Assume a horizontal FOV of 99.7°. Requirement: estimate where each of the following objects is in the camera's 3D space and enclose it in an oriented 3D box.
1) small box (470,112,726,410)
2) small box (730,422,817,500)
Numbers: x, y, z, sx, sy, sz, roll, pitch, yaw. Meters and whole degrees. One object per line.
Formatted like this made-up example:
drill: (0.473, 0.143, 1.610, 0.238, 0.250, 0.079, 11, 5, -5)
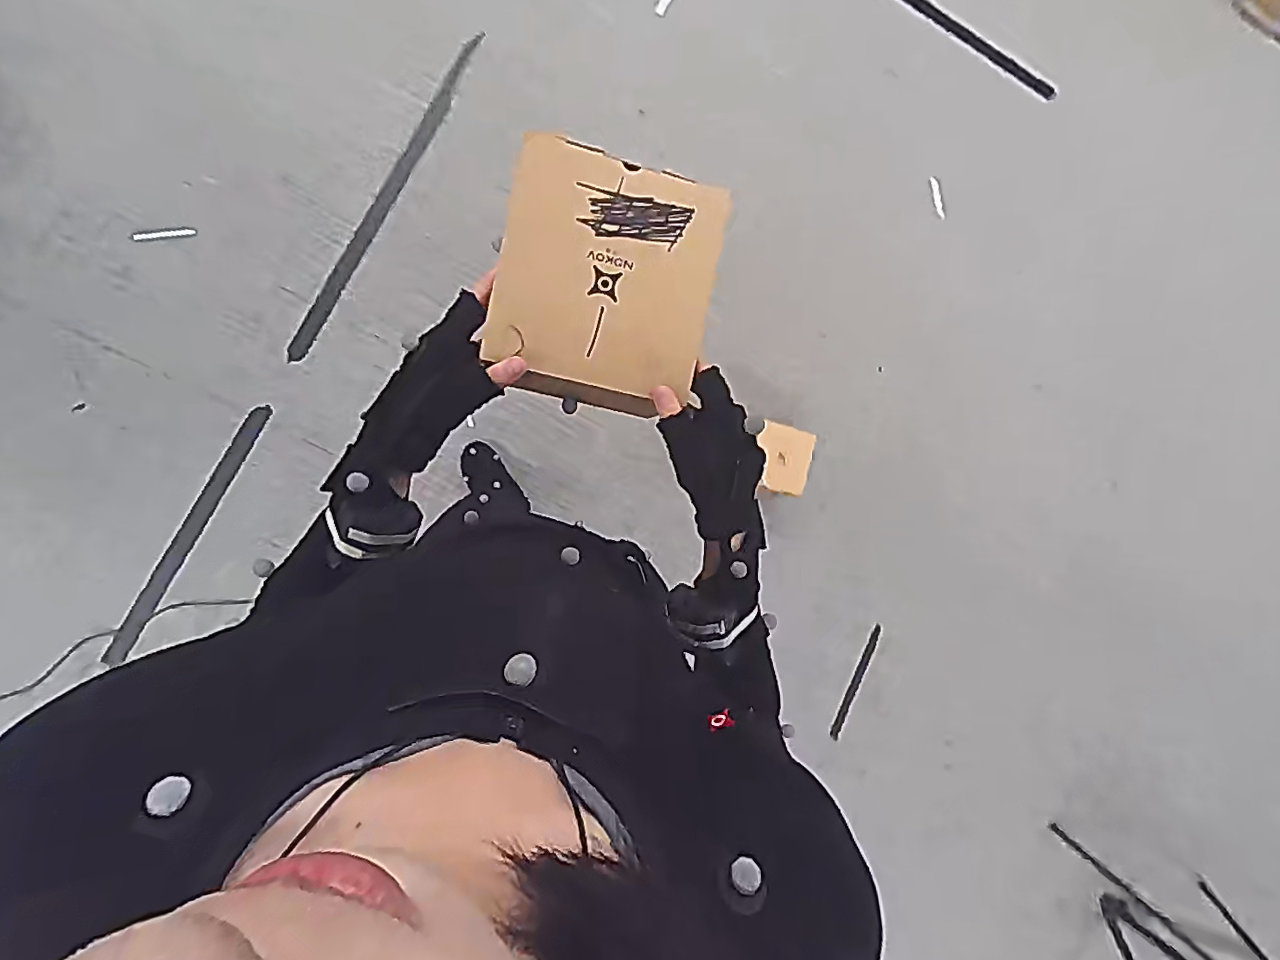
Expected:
small box: (-0.041, -0.168, 0.480, 0.168, 0.176, 0.179, 11, 91, -9)
small box: (0.367, -0.047, 1.520, 0.168, 0.176, 0.179, 15, 85, -9)
